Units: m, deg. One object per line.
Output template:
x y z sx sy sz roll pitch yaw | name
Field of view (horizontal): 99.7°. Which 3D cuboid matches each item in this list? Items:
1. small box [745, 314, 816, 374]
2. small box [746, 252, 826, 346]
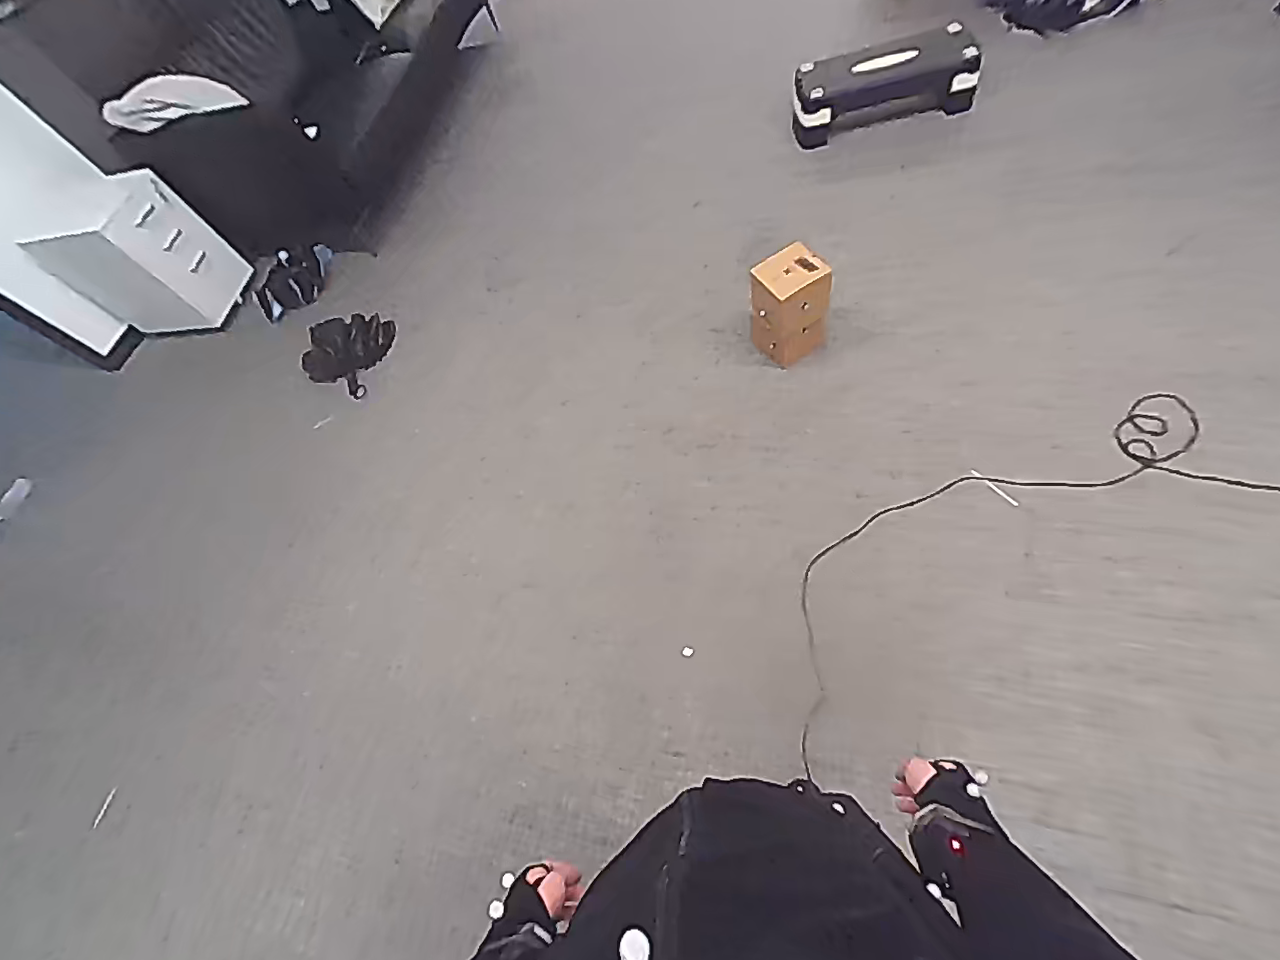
0.474 -0.488 1.807 0.179 0.176 0.168 -37 60 -8 | small box
0.444 -0.551 1.657 0.179 0.176 0.168 -31 59 -2 | small box
